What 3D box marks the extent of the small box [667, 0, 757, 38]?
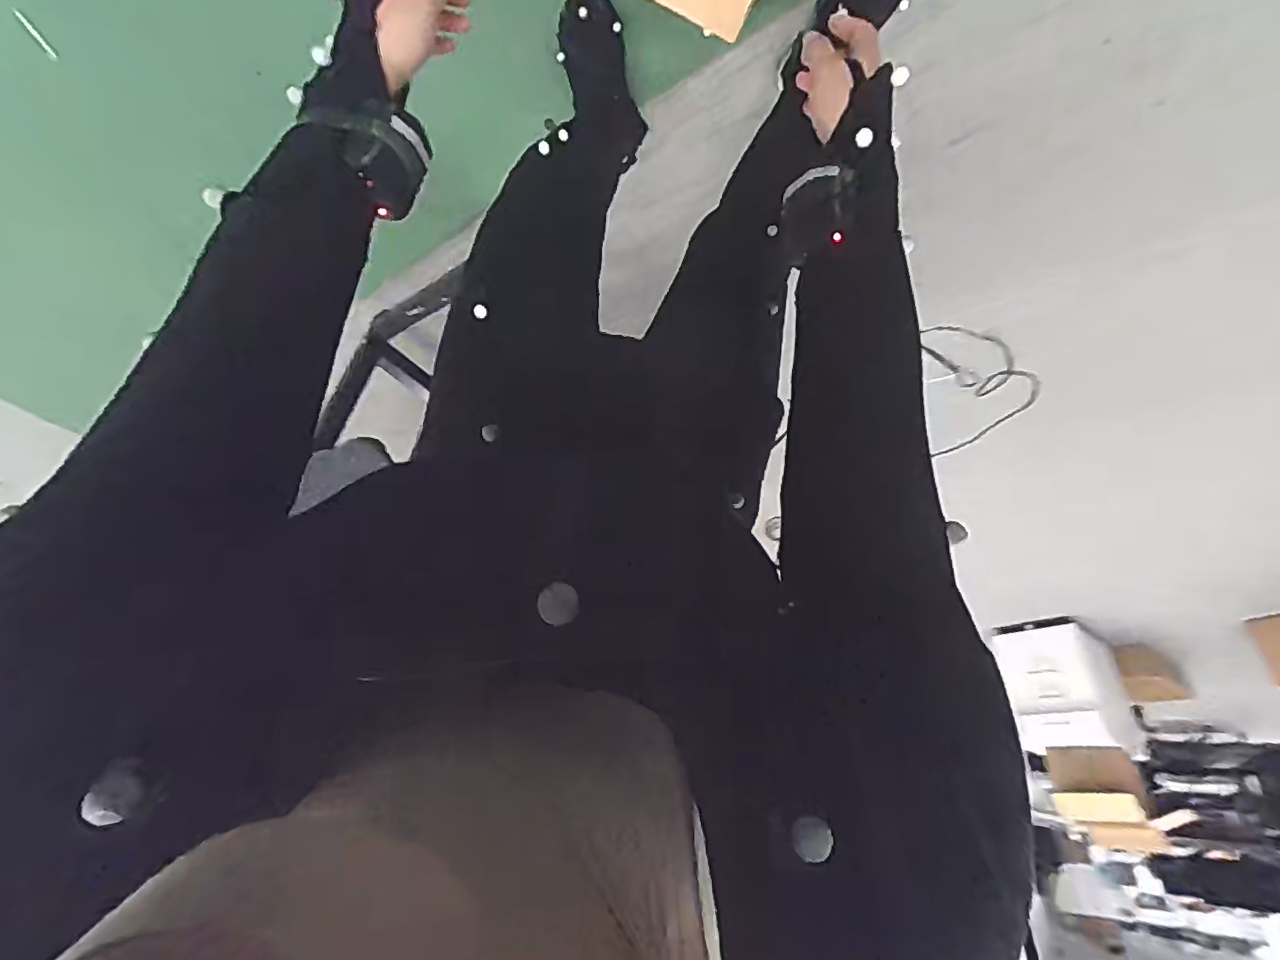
[{"bbox_3d":[0.100,-0.766,0.738,0.179,0.176,0.168,15,147,-15],"label":"small box"}]
